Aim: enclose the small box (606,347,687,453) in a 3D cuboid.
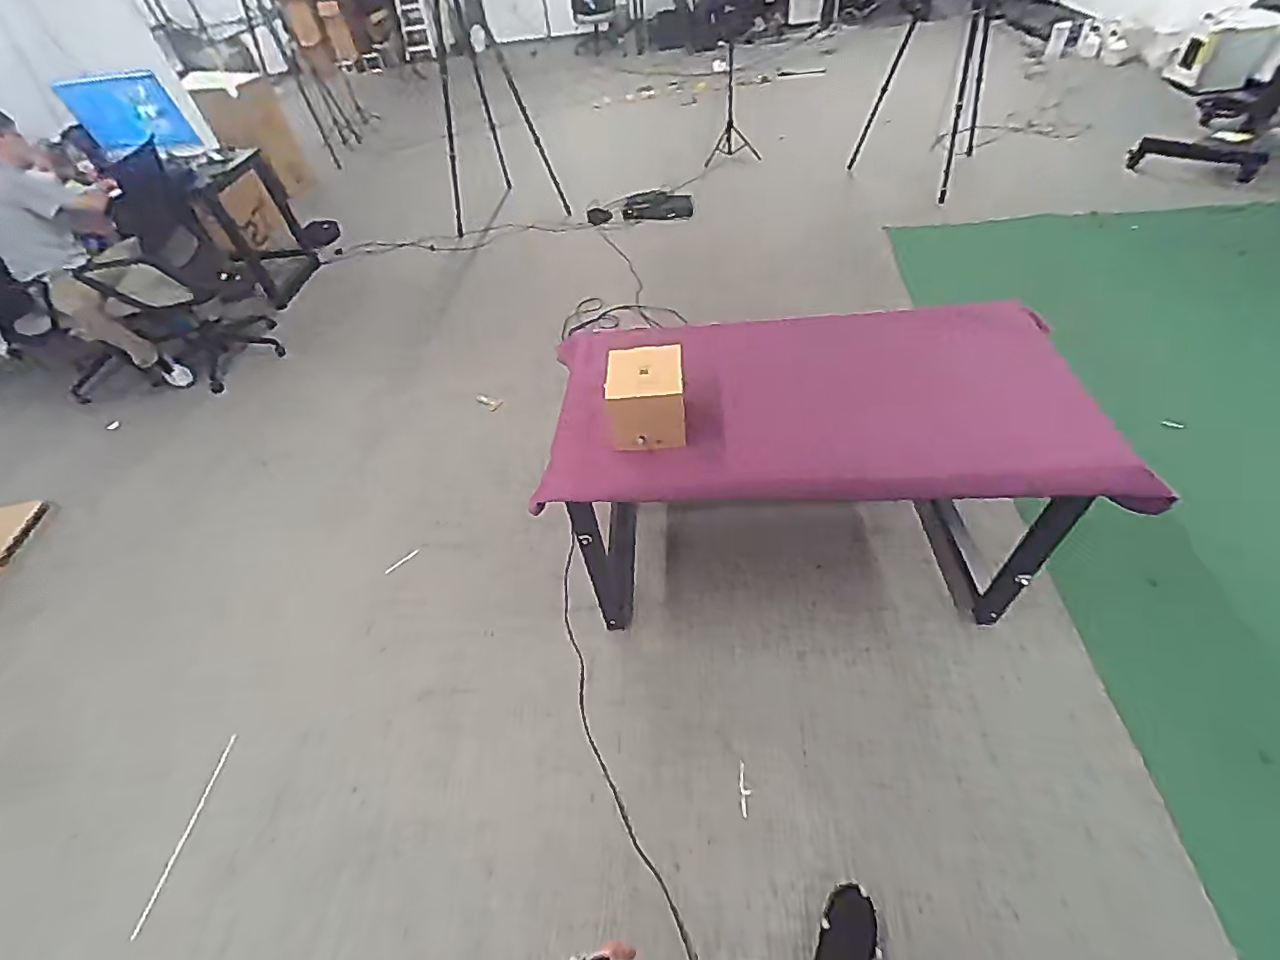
[{"bbox_3d":[0.021,-0.182,1.242,0.168,0.176,0.179,-3,49,6],"label":"small box"}]
